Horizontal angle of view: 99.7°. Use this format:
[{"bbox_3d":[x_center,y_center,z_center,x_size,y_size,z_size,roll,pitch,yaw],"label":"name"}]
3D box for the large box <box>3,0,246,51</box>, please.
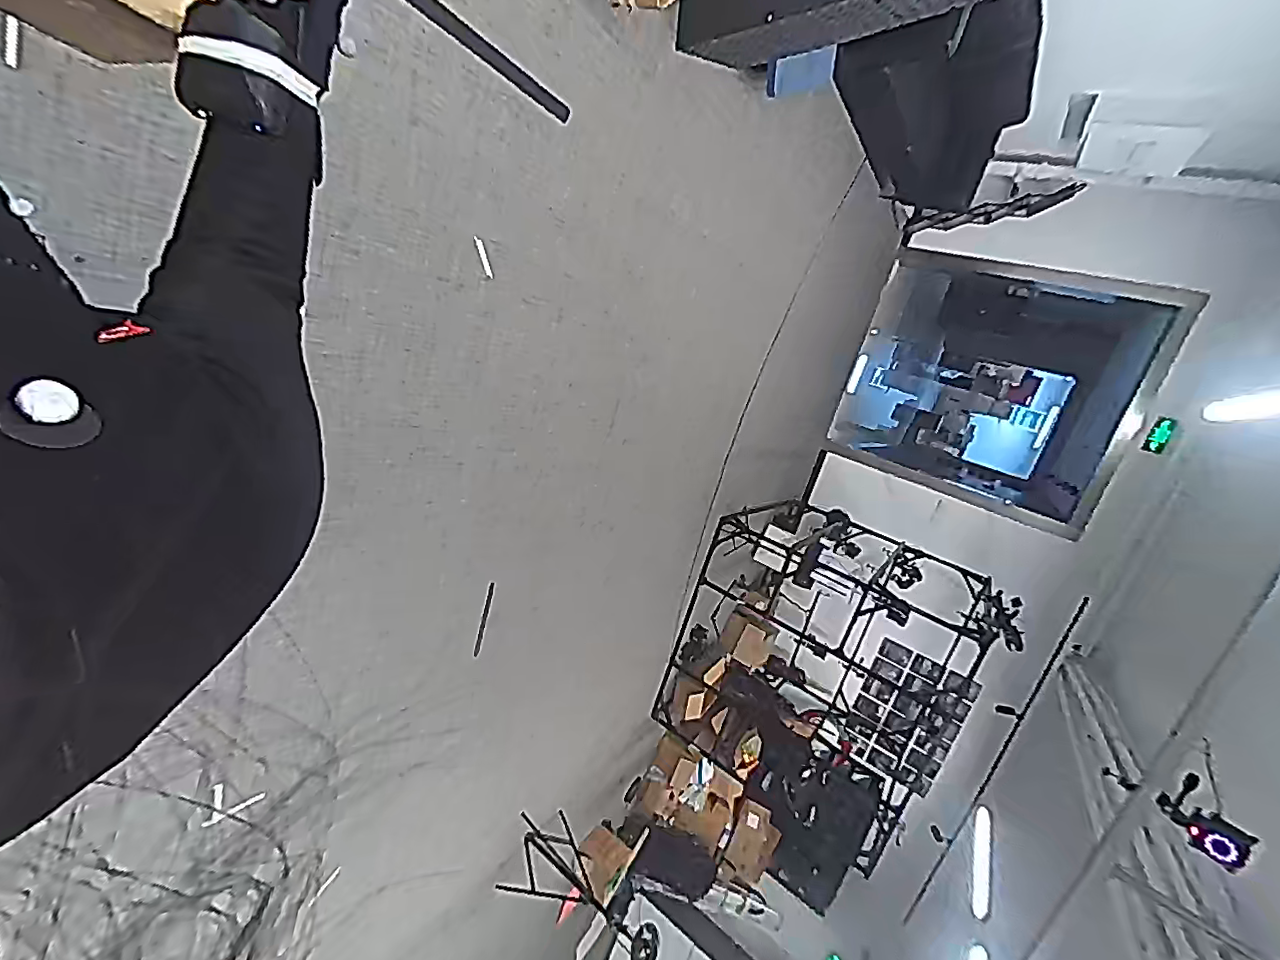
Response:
[{"bbox_3d":[-0.464,-0.505,0.265,0.408,0.320,0.320,2,112,-59],"label":"large box"}]
